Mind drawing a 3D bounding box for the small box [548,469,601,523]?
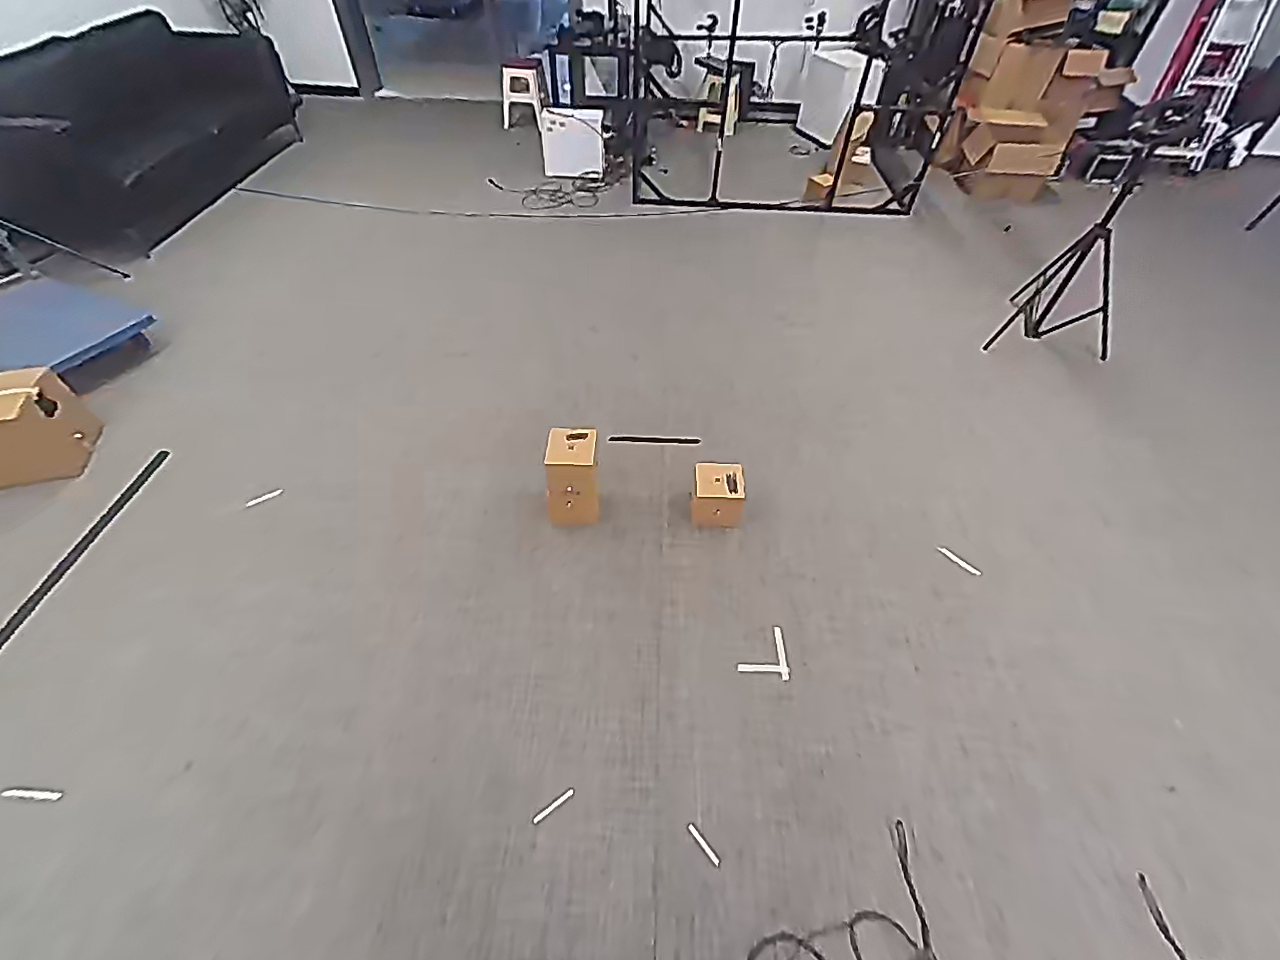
[{"bbox_3d":[-0.240,0.047,2.025,0.179,0.176,0.168,2,49,1],"label":"small box"}]

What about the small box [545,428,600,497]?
[{"bbox_3d":[-0.232,-0.063,1.903,0.168,0.176,0.179,2,50,1],"label":"small box"}]
